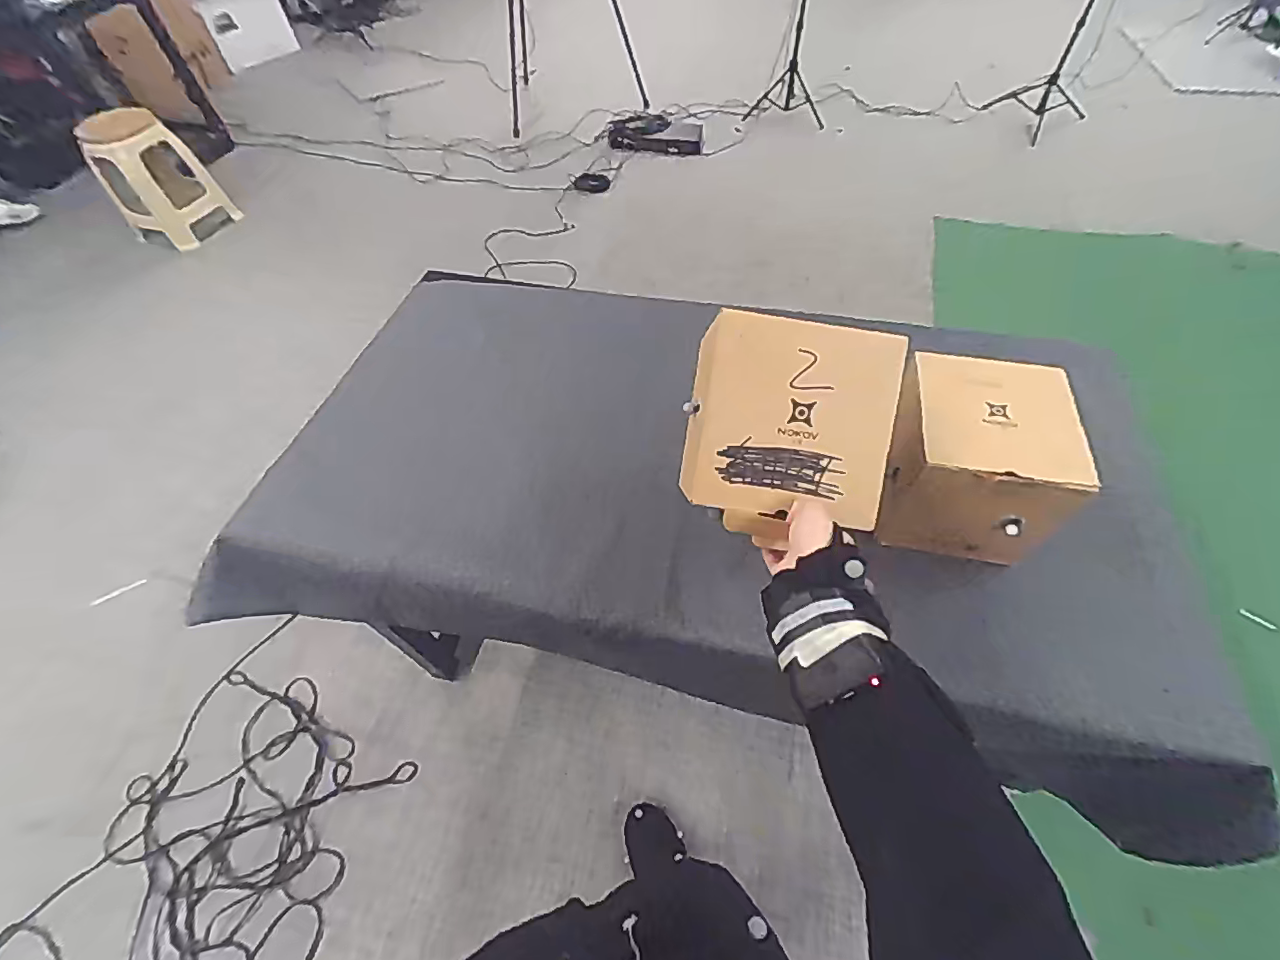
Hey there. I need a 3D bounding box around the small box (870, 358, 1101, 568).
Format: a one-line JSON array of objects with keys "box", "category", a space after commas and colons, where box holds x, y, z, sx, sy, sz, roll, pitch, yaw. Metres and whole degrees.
[{"box": [0.385, -0.016, 0.644, 0.168, 0.176, 0.179, 9, 54, 8], "category": "small box"}]
